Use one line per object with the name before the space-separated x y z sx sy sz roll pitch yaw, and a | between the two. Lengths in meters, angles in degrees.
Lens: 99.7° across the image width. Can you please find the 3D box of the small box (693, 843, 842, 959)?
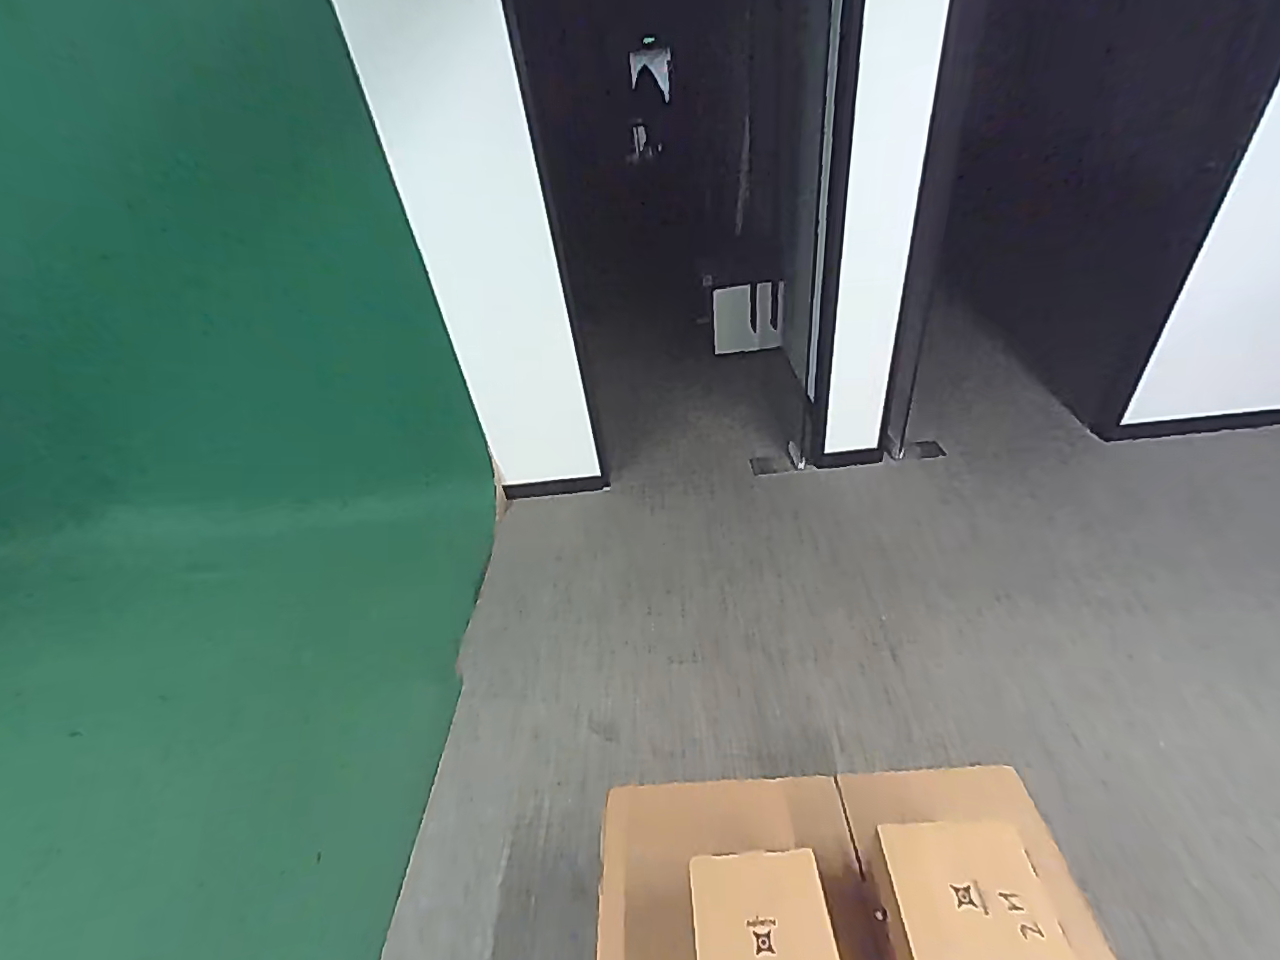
small box | 0.161 0.603 0.693 0.168 0.176 0.179 -8 35 4
